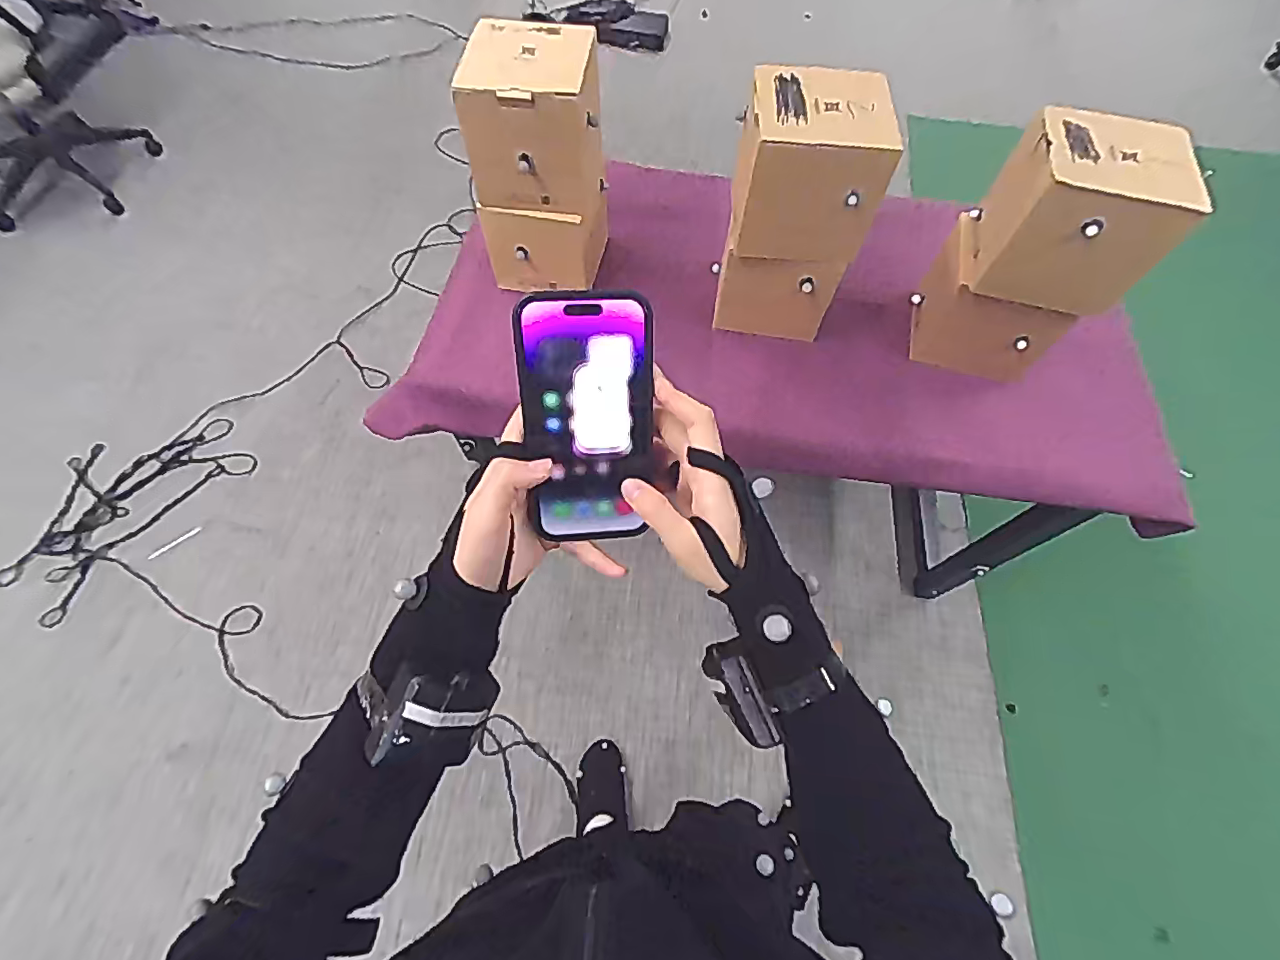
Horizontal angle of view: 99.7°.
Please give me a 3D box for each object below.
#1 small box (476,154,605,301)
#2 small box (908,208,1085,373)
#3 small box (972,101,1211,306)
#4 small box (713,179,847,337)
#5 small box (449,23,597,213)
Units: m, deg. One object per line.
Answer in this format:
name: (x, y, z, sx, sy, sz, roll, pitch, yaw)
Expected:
small box: (-0.157, -0.435, 0.928, 0.168, 0.176, 0.179, 9, 63, 4)
small box: (0.557, -0.295, 0.863, 0.179, 0.176, 0.168, 14, 63, 7)
small box: (0.565, -0.355, 0.711, 0.179, 0.176, 0.168, 14, 63, 6)
small box: (0.224, -0.359, 0.892, 0.179, 0.176, 0.168, 9, 63, 4)
small box: (-0.155, -0.518, 0.786, 0.168, 0.176, 0.179, 5, 63, 1)
